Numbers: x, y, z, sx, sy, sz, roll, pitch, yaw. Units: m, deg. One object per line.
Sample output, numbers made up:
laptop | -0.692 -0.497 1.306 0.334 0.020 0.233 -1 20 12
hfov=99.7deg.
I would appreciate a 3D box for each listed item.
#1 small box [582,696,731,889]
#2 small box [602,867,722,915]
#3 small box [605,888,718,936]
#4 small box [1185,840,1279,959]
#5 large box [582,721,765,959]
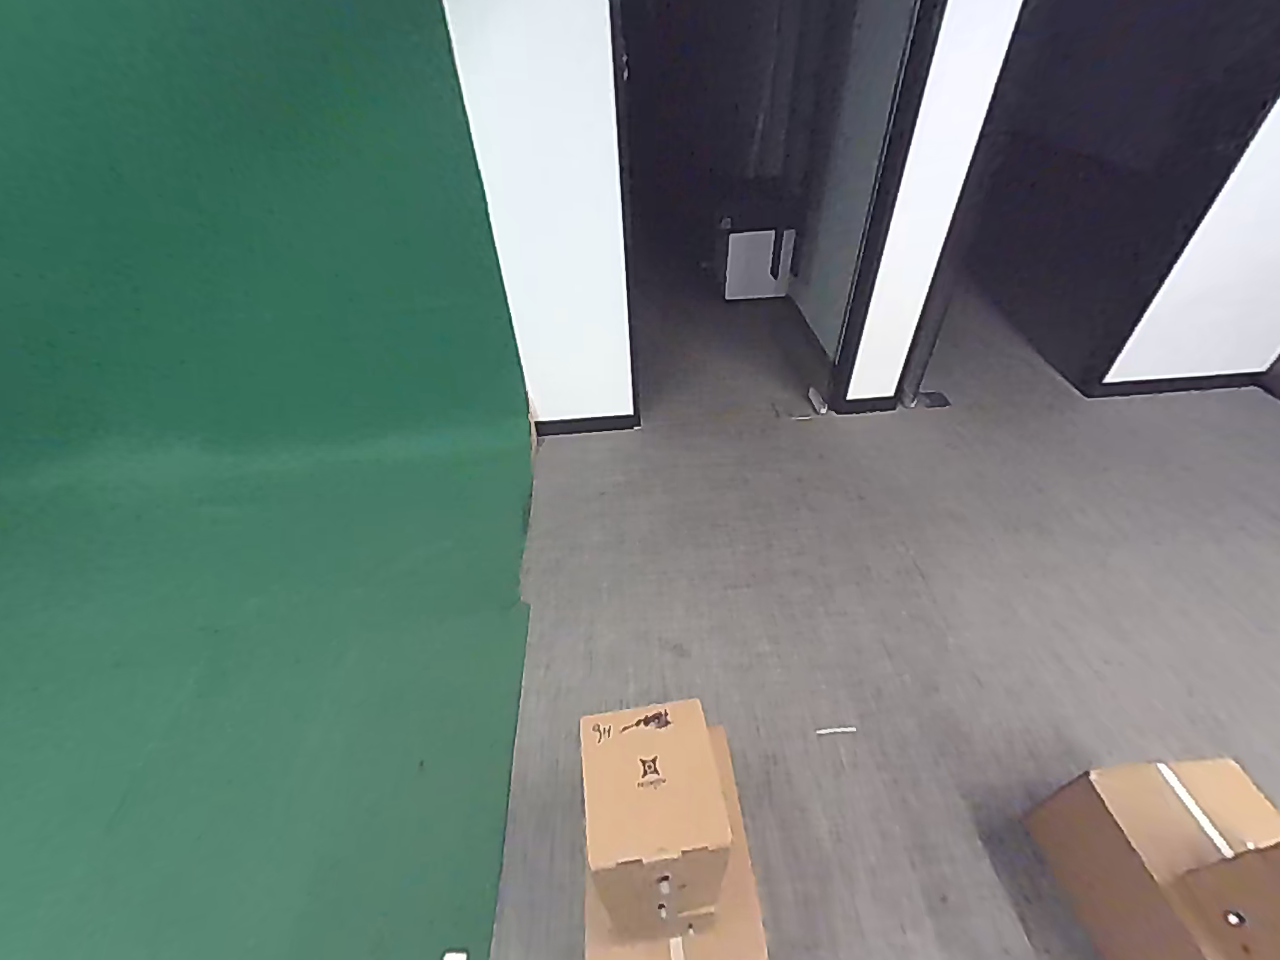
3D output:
small box | 0.017 0.418 0.718 0.168 0.176 0.179 -7 43 -4
small box | 0.023 0.538 0.830 0.168 0.176 0.179 -8 42 -6
small box | 0.030 0.664 0.936 0.179 0.176 0.168 -6 42 -2
small box | 1.052 0.684 0.857 0.179 0.176 0.168 -7 43 -2
large box | 0.052 0.794 1.153 0.320 0.320 0.408 -5 42 -2
